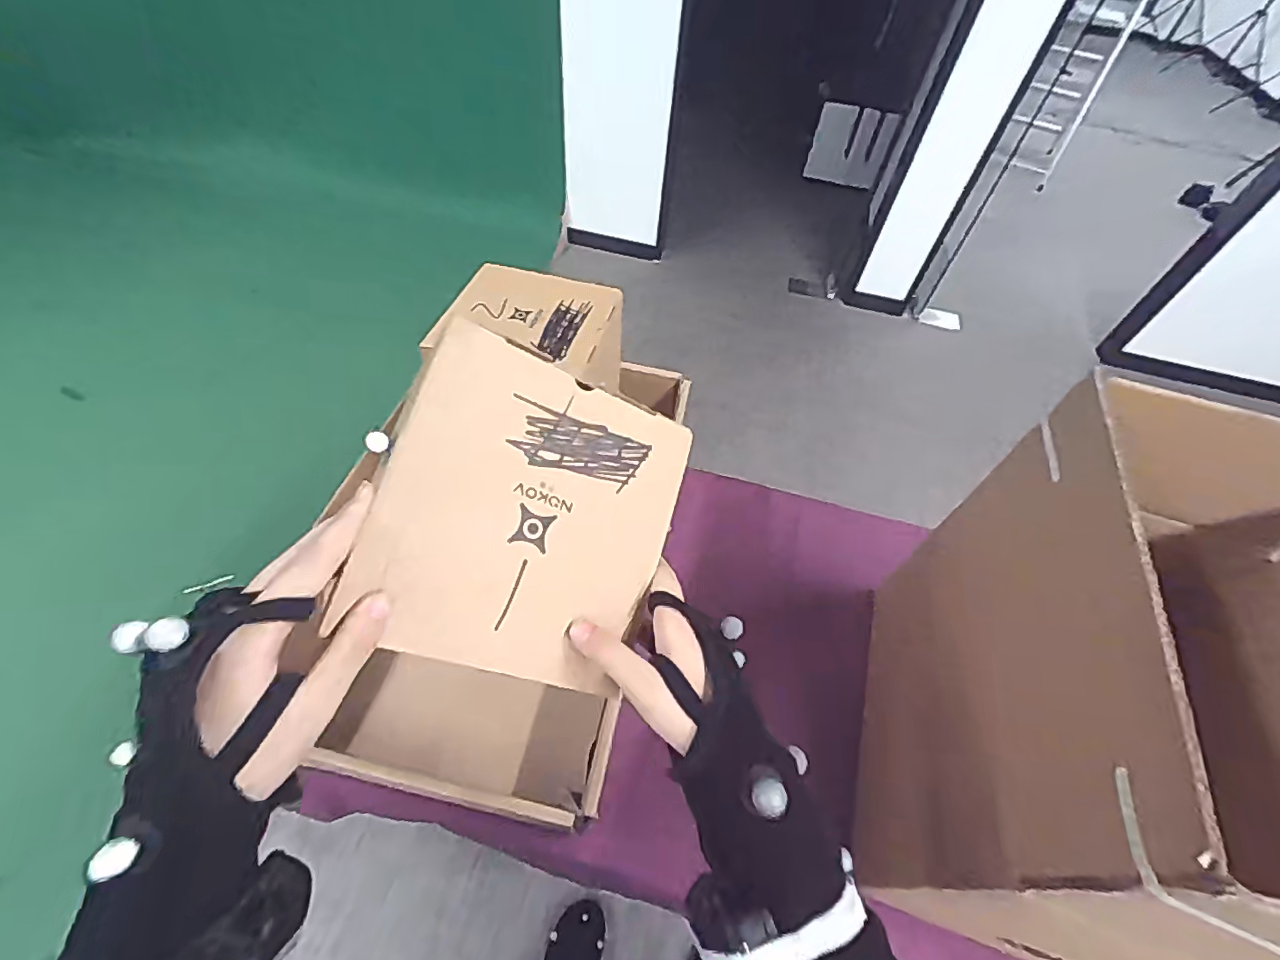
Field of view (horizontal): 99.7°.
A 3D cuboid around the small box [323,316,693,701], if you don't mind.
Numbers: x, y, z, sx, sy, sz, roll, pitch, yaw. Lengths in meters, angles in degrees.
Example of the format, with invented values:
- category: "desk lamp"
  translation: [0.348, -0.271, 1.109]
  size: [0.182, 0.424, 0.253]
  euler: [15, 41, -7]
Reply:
- category: "small box"
  translation: [-0.094, 0.024, 0.370]
  size: [0.168, 0.176, 0.179]
  euler: [23, 78, -25]
